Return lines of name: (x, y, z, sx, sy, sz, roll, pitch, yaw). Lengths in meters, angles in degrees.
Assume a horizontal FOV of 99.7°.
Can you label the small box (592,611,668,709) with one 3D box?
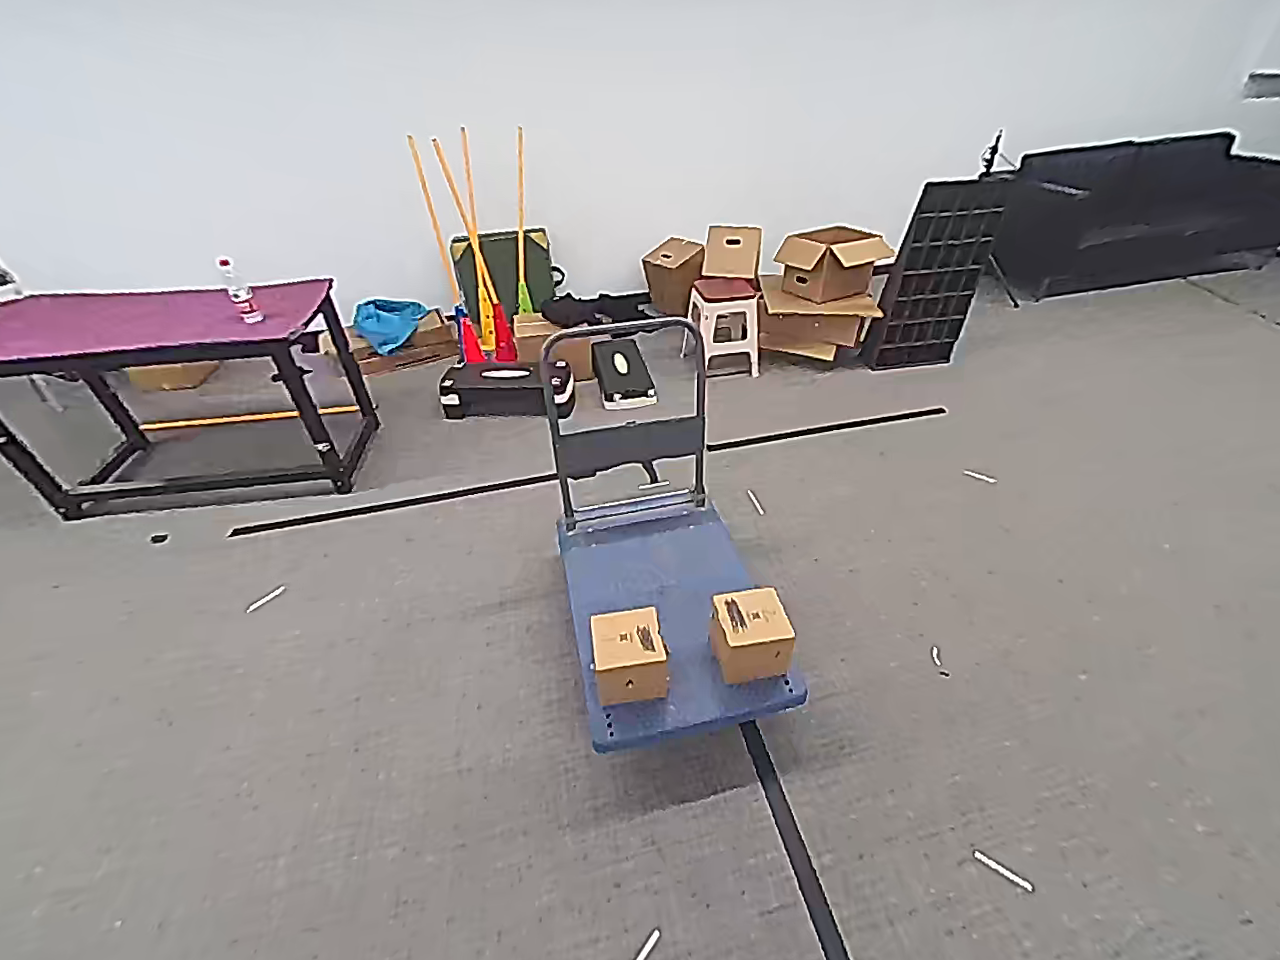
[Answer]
small box: (-0.027, 0.469, 1.409, 0.179, 0.176, 0.168, -8, 38, -5)
